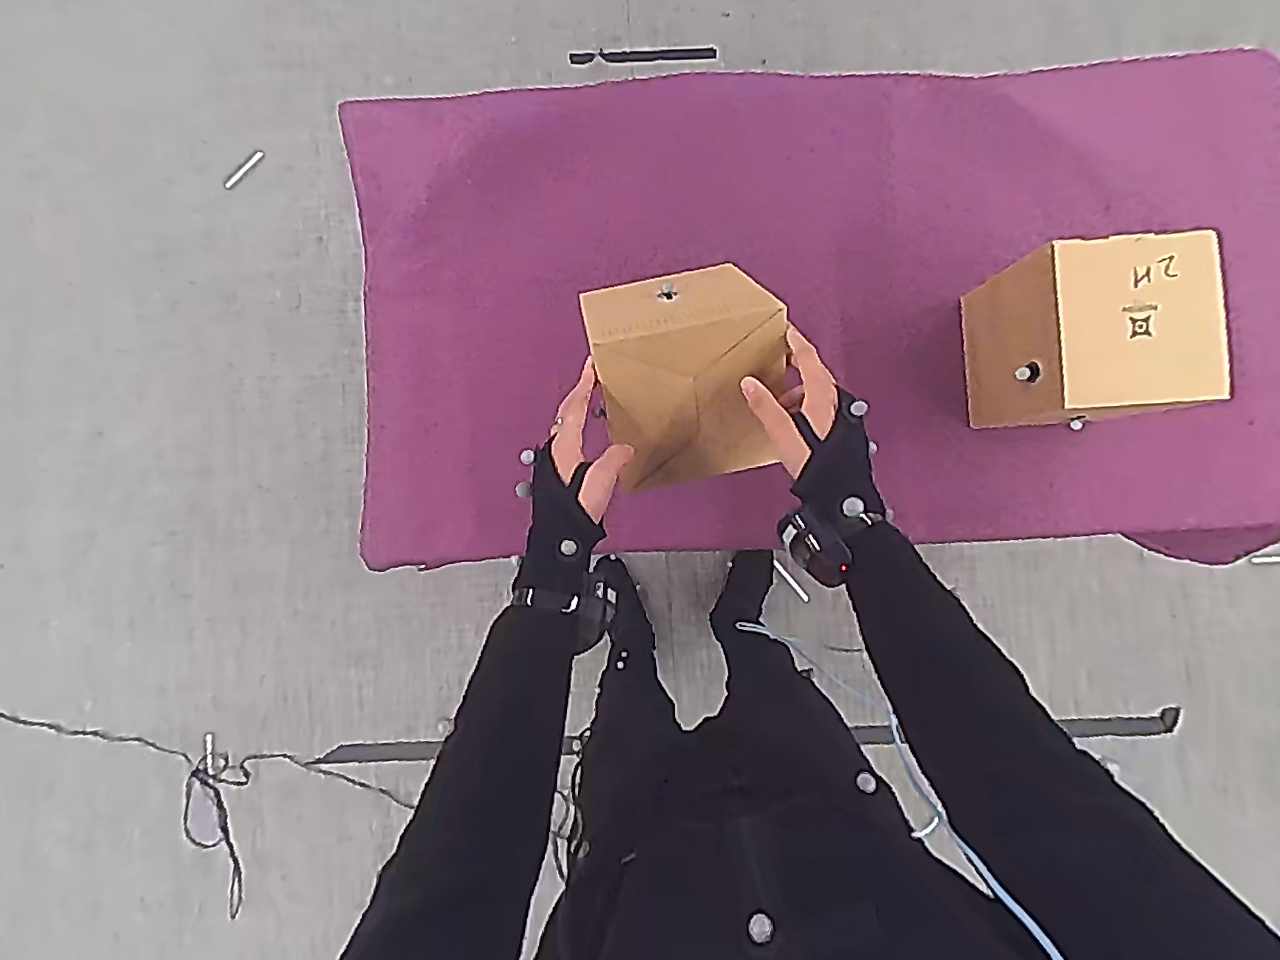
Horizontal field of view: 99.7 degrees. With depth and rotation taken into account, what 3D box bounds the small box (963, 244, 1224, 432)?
[{"bbox_3d":[0.507,-0.150,0.630,0.168,0.176,0.179,-3,88,1],"label":"small box"}]
